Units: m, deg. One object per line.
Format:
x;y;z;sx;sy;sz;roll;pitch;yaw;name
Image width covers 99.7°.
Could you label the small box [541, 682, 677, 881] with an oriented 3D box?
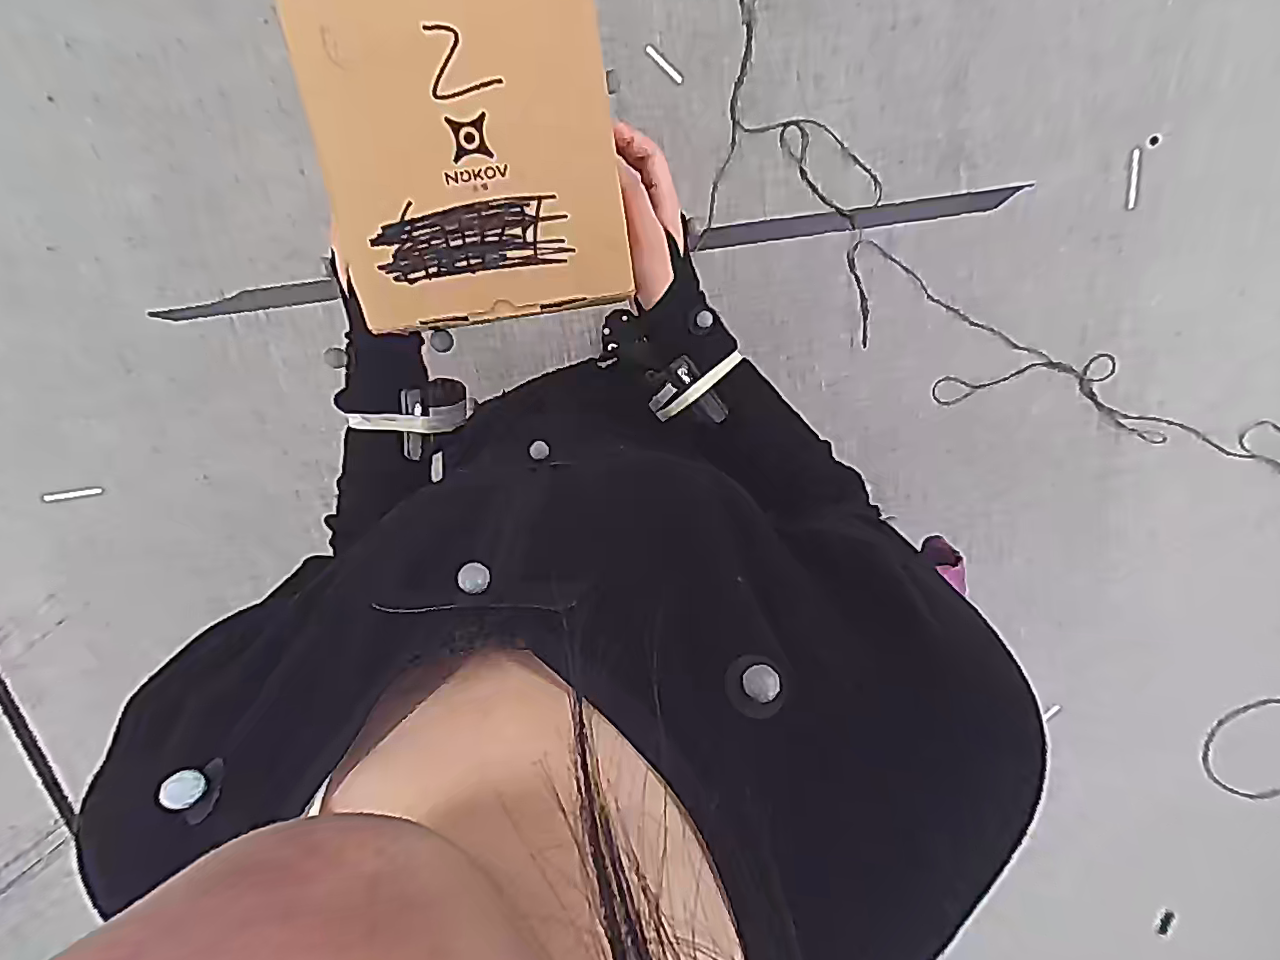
-0.042;0.424;0.779;0.168;0.176;0.179;-7;105;-3;small box
